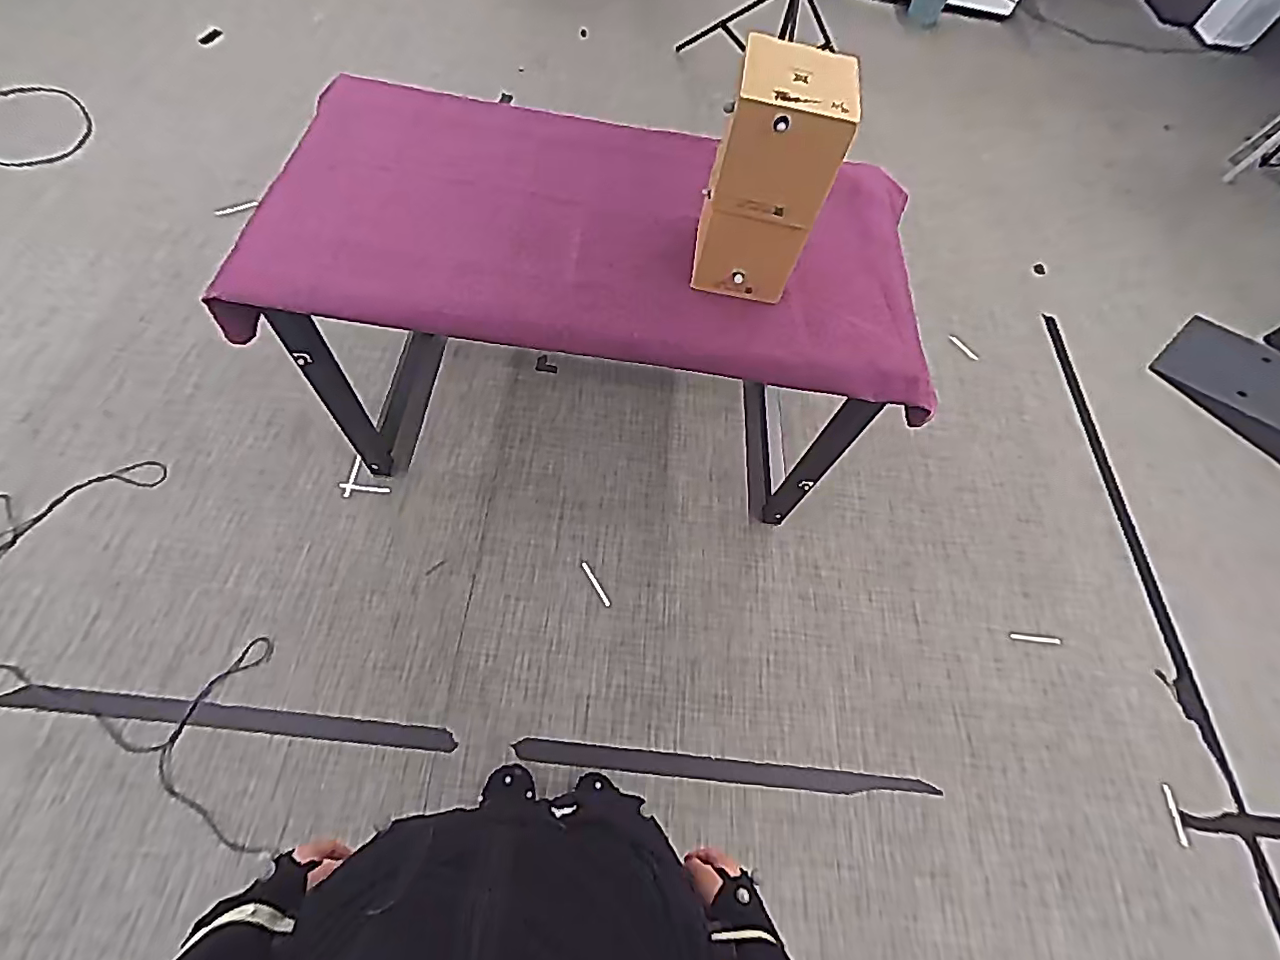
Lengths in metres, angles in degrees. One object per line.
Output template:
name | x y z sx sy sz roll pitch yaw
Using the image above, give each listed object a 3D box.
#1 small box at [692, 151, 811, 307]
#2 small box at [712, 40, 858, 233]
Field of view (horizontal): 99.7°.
small box | 0.194 -0.445 0.969 0.168 0.176 0.179 9 62 -2
small box | 0.213 -0.515 0.822 0.168 0.176 0.179 11 61 -1
